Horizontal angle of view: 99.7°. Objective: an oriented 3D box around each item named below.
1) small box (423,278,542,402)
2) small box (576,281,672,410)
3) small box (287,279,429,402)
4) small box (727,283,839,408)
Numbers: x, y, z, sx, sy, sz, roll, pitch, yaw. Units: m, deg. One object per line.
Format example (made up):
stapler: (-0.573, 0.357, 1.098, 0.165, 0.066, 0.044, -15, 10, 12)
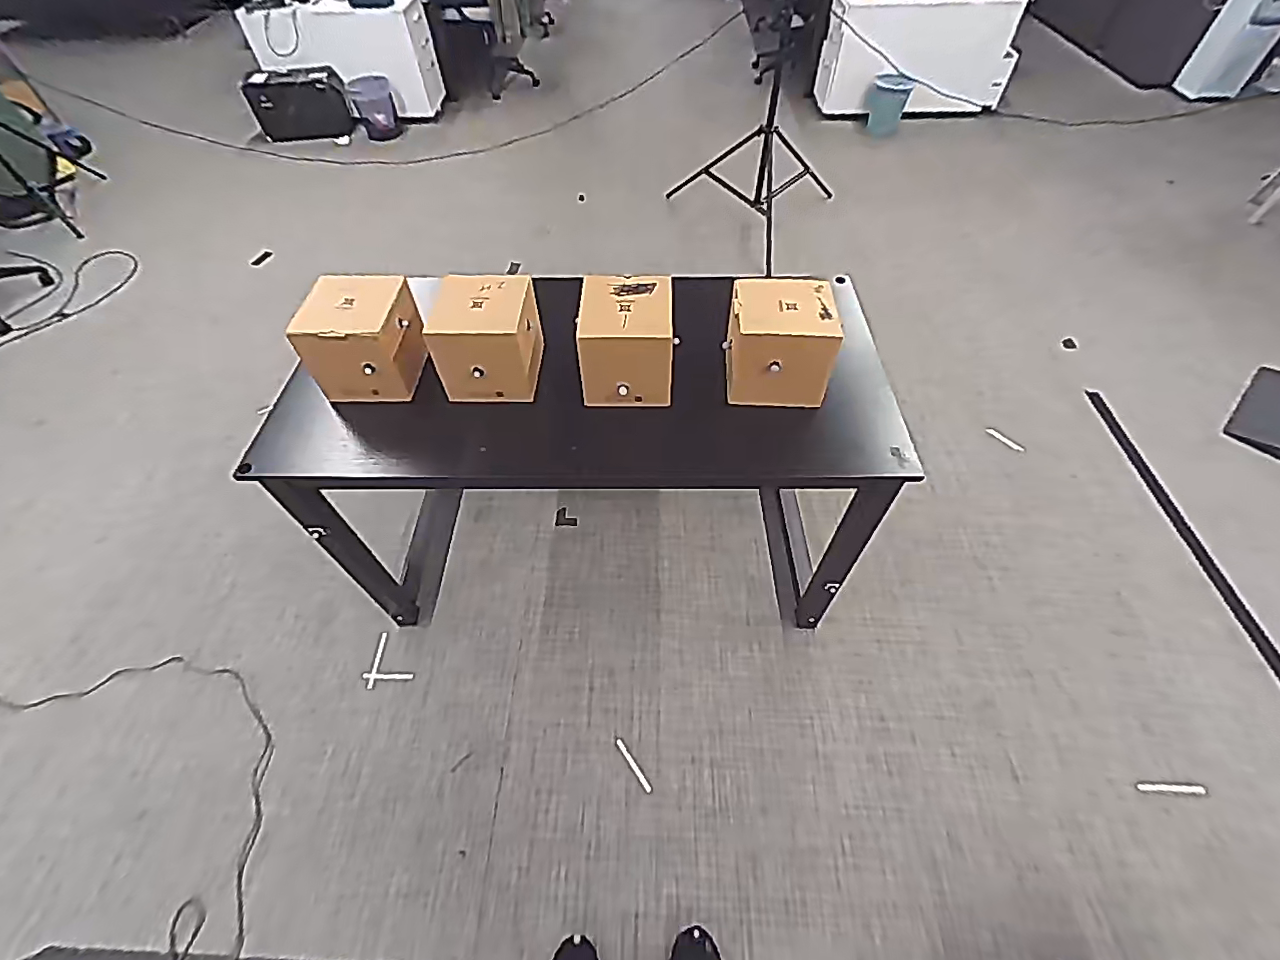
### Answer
small box: (-0.289, -0.265, 1.038, 0.168, 0.176, 0.179, 1, 53, 1)
small box: (-0.025, -0.255, 1.026, 0.168, 0.176, 0.179, 0, 53, 2)
small box: (-0.529, -0.265, 1.045, 0.168, 0.176, 0.179, 0, 52, 0)
small box: (0.256, -0.250, 1.017, 0.179, 0.176, 0.168, 2, 53, 4)
